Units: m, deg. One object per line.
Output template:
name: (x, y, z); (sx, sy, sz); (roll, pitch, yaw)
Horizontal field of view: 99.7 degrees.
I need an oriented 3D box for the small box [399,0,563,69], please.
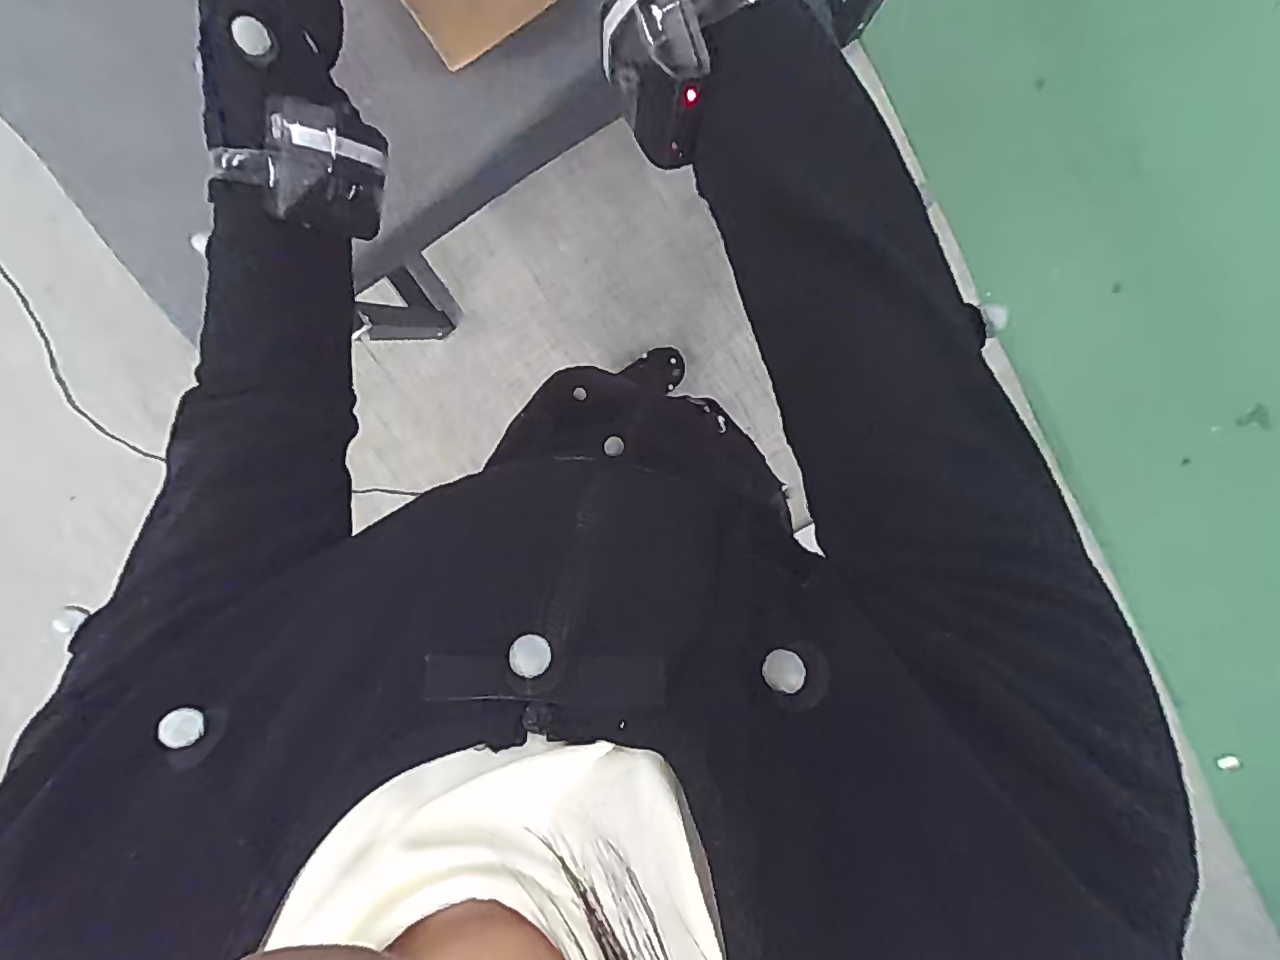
small box: (-0.167, -0.520, 0.476); (0.179, 0.176, 0.168); (-29, 101, 10)
